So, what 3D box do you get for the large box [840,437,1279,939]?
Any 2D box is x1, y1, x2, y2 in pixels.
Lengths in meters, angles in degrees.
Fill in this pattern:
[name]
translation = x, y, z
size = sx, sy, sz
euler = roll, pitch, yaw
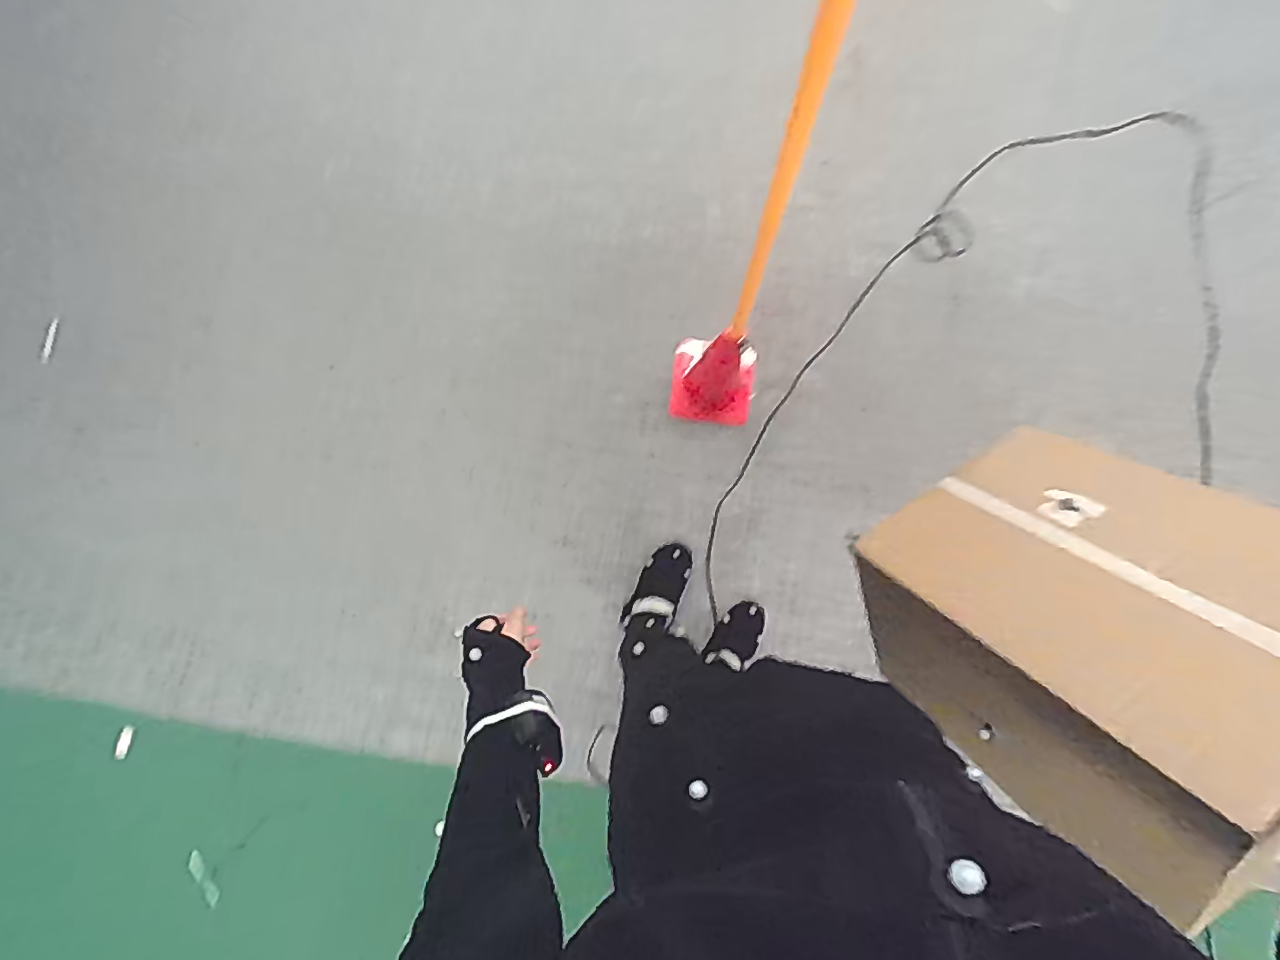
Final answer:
[large box]
translation = 0.527, 0.209, 0.656
size = 0.320, 0.408, 0.320
euler = -32, 124, -9
